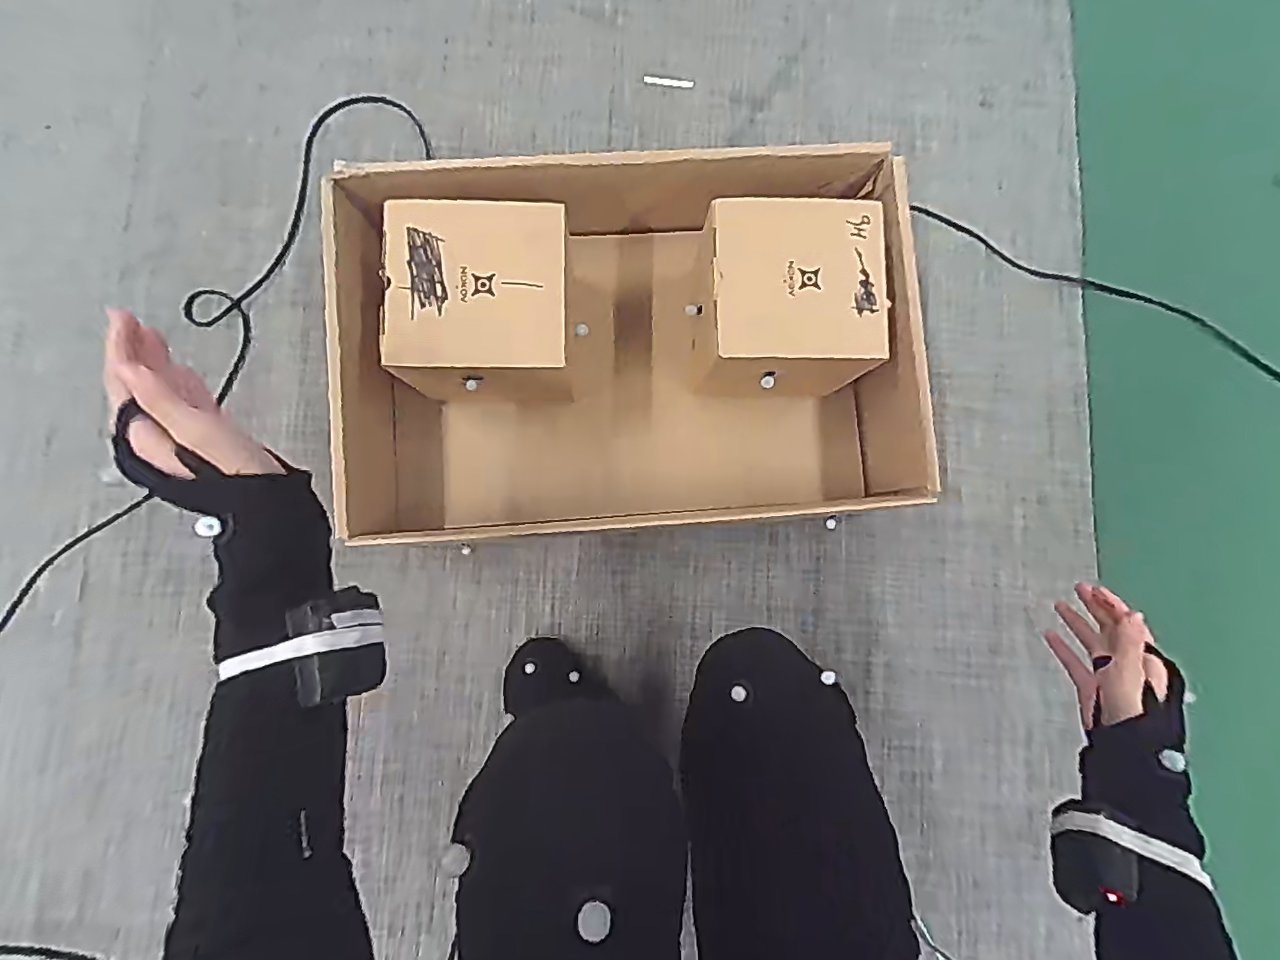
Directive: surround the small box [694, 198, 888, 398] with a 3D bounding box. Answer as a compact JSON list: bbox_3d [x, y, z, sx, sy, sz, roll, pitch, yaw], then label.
[{"bbox_3d":[0.157,-0.193,0.617,0.179,0.176,0.168,1,85,-2],"label":"small box"}]
